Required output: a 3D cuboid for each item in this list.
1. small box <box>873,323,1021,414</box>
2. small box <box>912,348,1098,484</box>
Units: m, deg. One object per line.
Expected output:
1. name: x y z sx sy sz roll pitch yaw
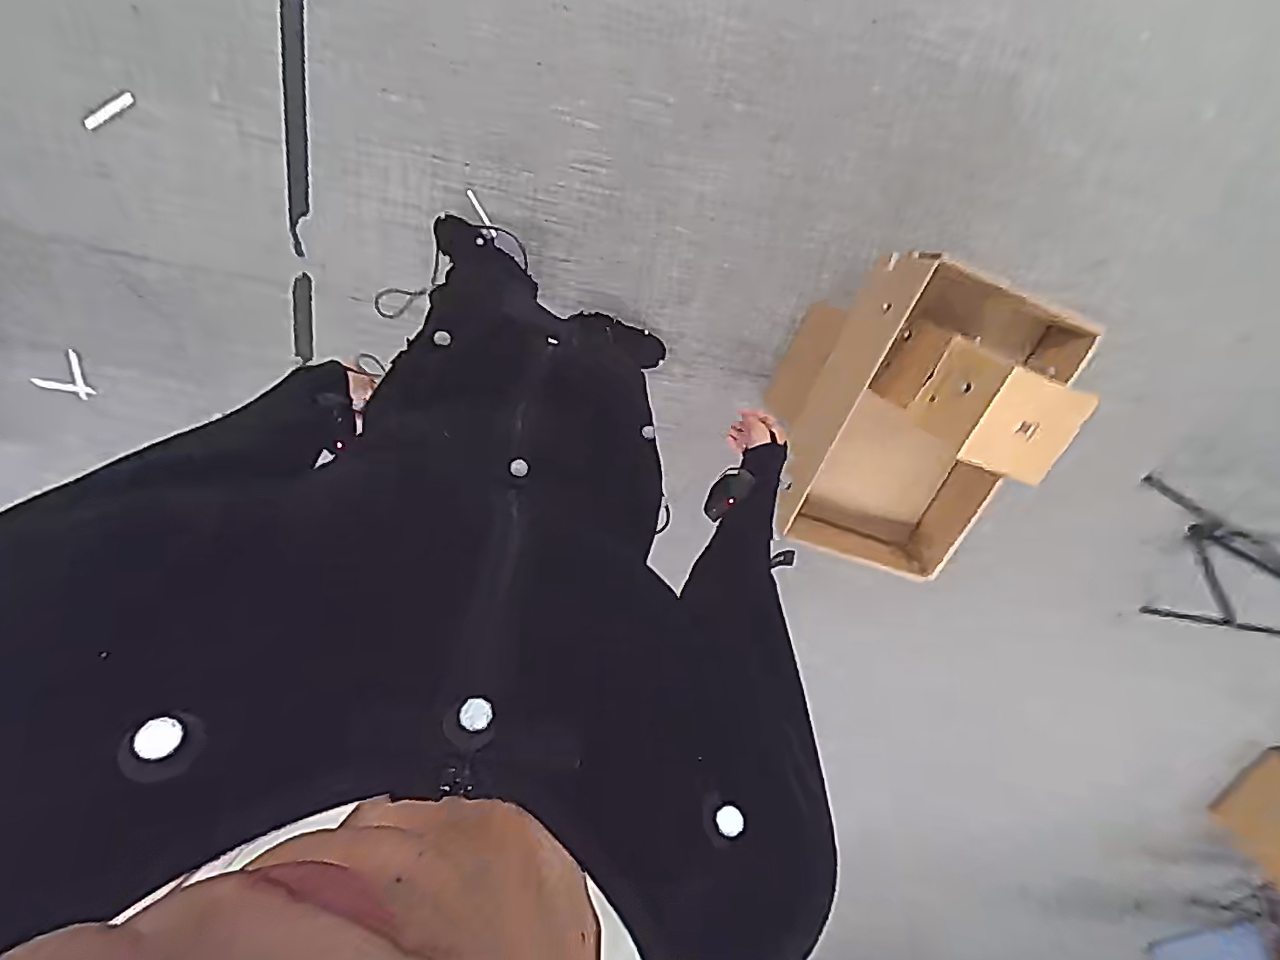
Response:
1. small box: 0.614 -0.205 1.098 0.179 0.176 0.168 20 114 -13
2. small box: 0.628 -0.121 0.959 0.179 0.176 0.168 17 115 -12
